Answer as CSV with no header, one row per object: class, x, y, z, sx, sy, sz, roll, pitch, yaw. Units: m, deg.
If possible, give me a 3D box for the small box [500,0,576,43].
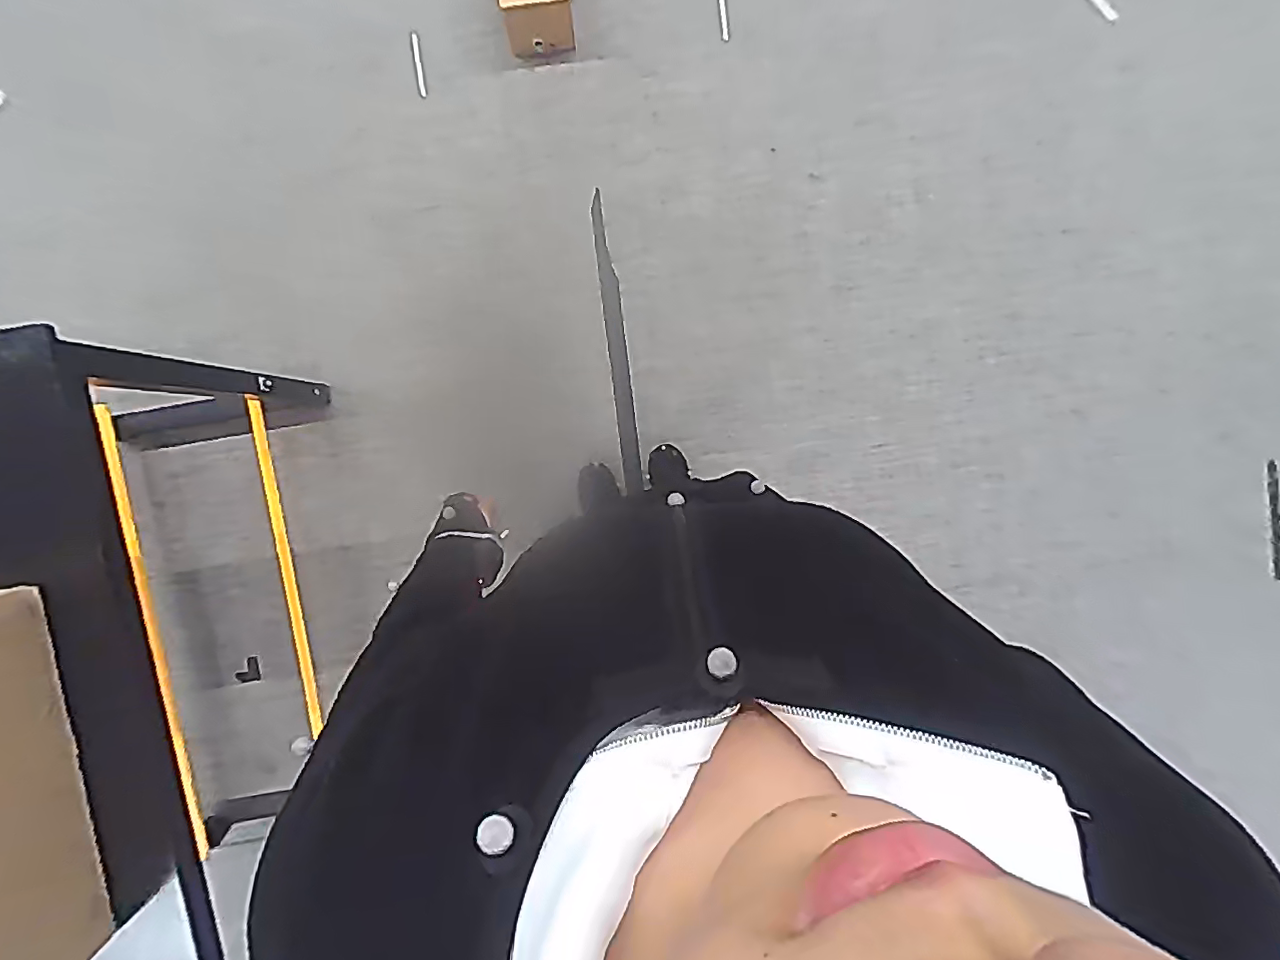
small box,-0.243,-1.150,1.225,0.168,0.176,0.179,-10,96,-1
